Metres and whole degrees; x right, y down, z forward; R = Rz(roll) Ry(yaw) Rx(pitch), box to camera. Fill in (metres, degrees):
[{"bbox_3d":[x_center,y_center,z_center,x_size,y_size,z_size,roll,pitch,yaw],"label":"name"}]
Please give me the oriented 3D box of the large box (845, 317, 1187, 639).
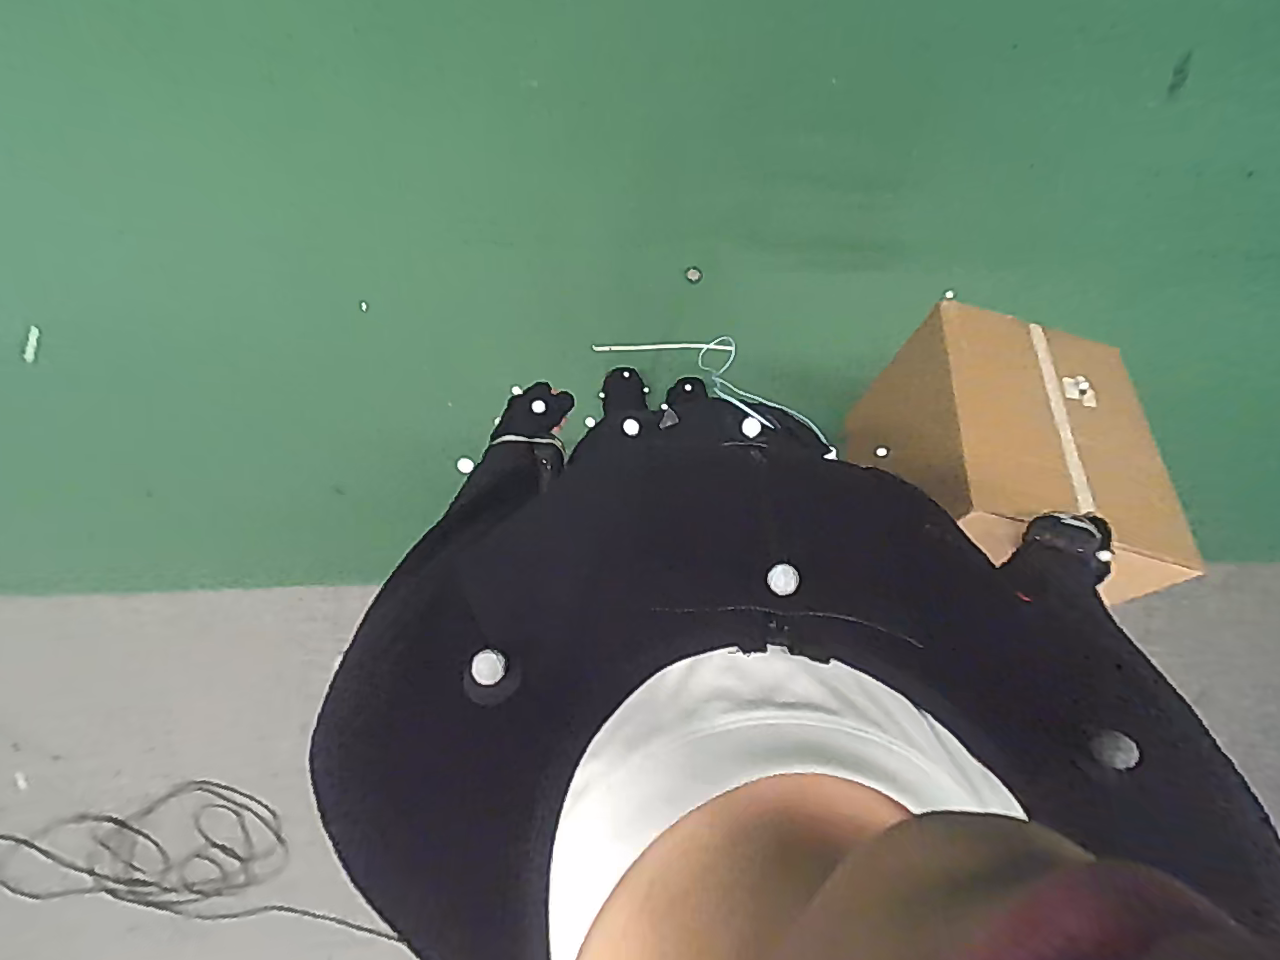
[{"bbox_3d":[0.564,0.007,0.914,0.320,0.408,0.320,16,147,-3],"label":"large box"}]
